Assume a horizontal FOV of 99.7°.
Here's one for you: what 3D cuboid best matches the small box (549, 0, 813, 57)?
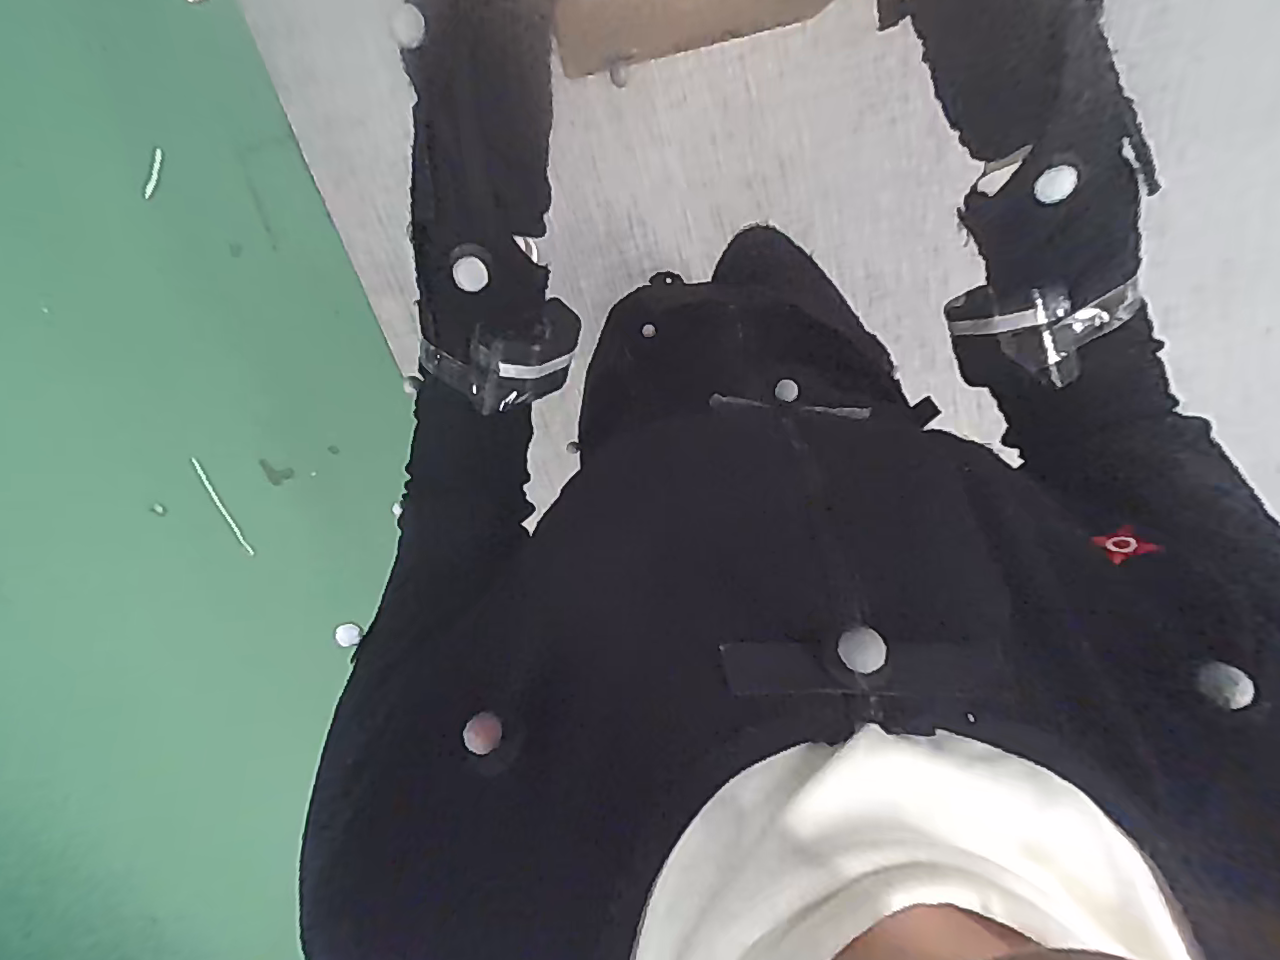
[{"bbox_3d":[0.020,-0.322,0.239,0.168,0.176,0.179,-13,114,1],"label":"small box"}]
